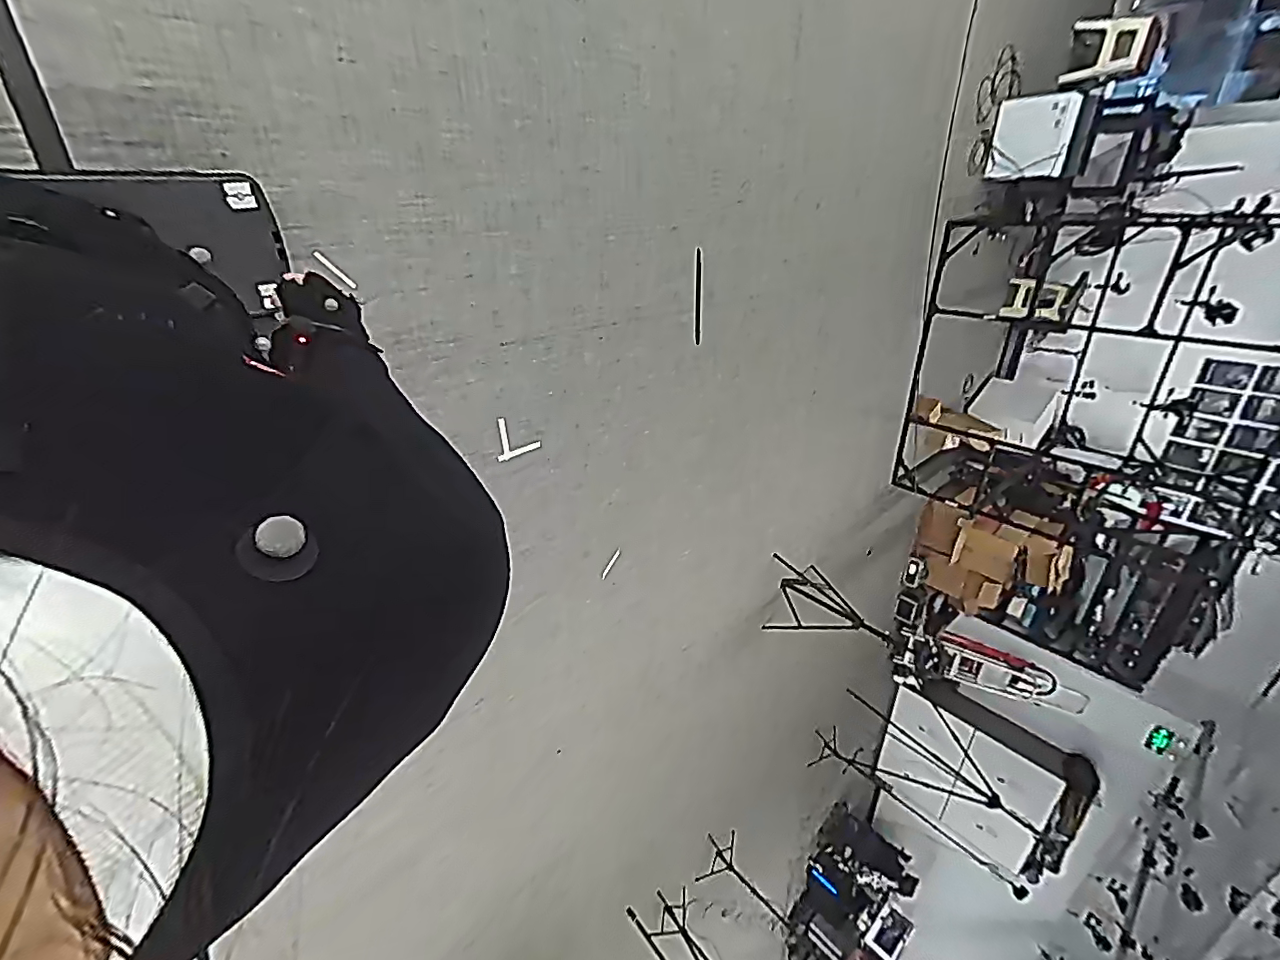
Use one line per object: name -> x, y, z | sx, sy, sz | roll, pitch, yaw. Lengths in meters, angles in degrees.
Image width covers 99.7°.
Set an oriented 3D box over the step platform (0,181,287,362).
step platform -> -1.088, -0.406, 1.034 | 0.684, 0.204, 0.286 | -25, 126, -36
